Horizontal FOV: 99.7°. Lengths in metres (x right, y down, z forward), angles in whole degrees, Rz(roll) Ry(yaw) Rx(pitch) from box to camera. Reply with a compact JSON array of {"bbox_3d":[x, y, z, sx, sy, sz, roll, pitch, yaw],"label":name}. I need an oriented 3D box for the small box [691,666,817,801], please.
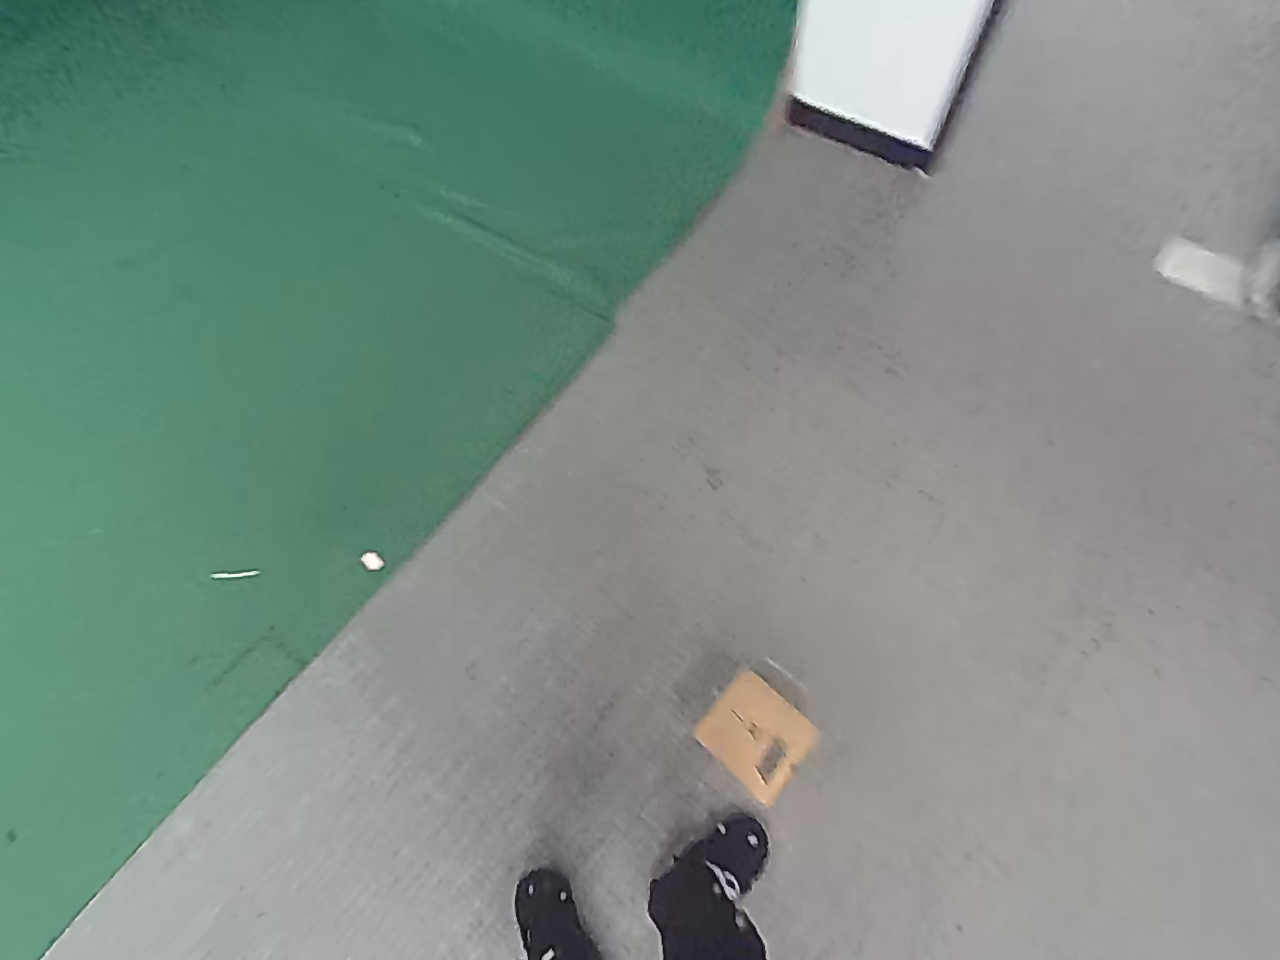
[{"bbox_3d":[0.220,0.492,1.080,0.179,0.176,0.168,37,78,17],"label":"small box"}]
